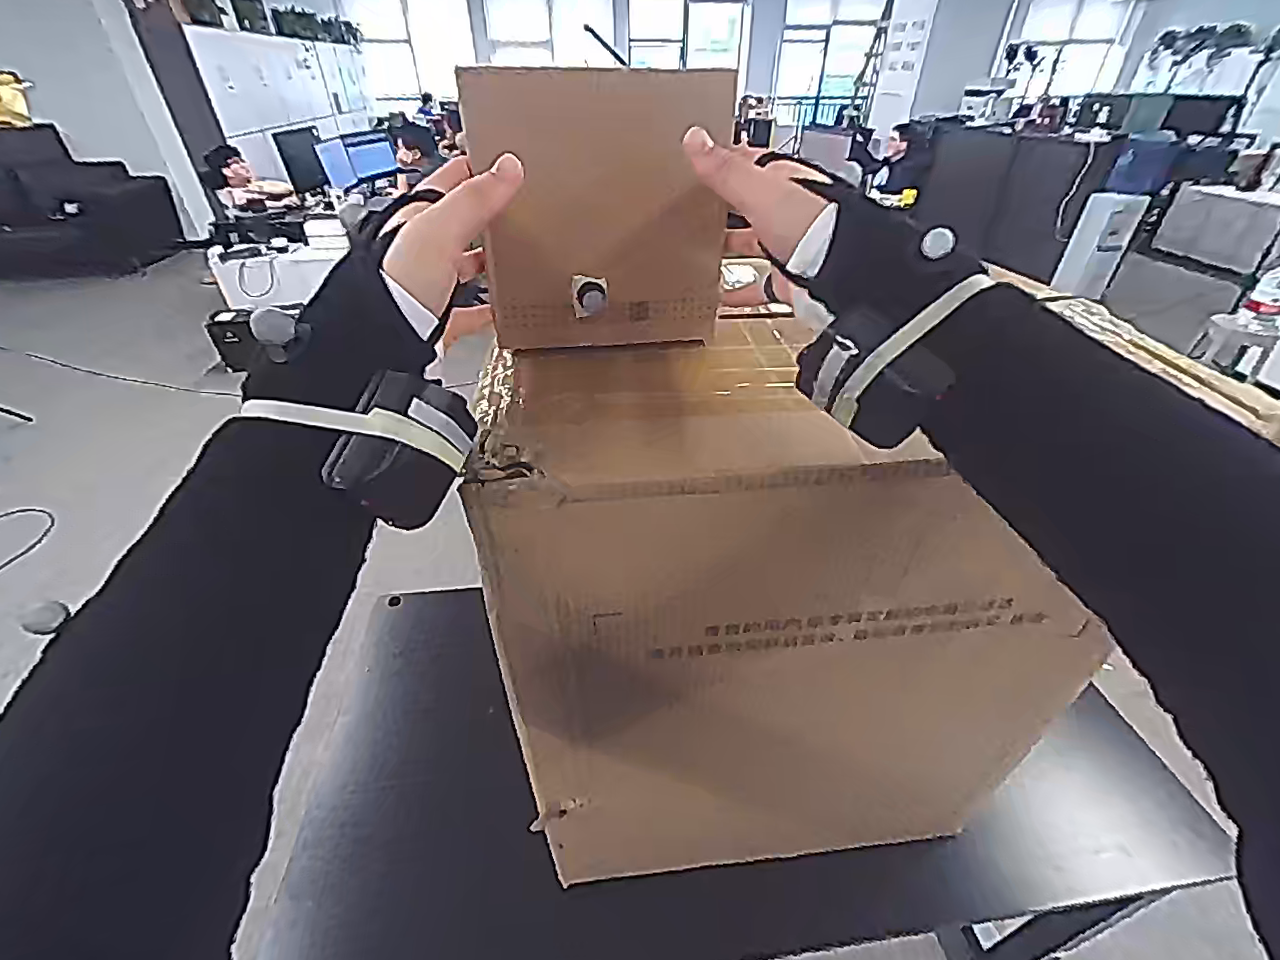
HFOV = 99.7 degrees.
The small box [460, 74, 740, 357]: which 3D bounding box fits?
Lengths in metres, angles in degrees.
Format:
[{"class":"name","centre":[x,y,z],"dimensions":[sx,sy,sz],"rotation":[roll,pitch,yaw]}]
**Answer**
[{"class":"small box","centre":[-0.034,-0.209,0.423],"dimensions":[0.168,0.176,0.179],"rotation":[-8,36,-8]}]
